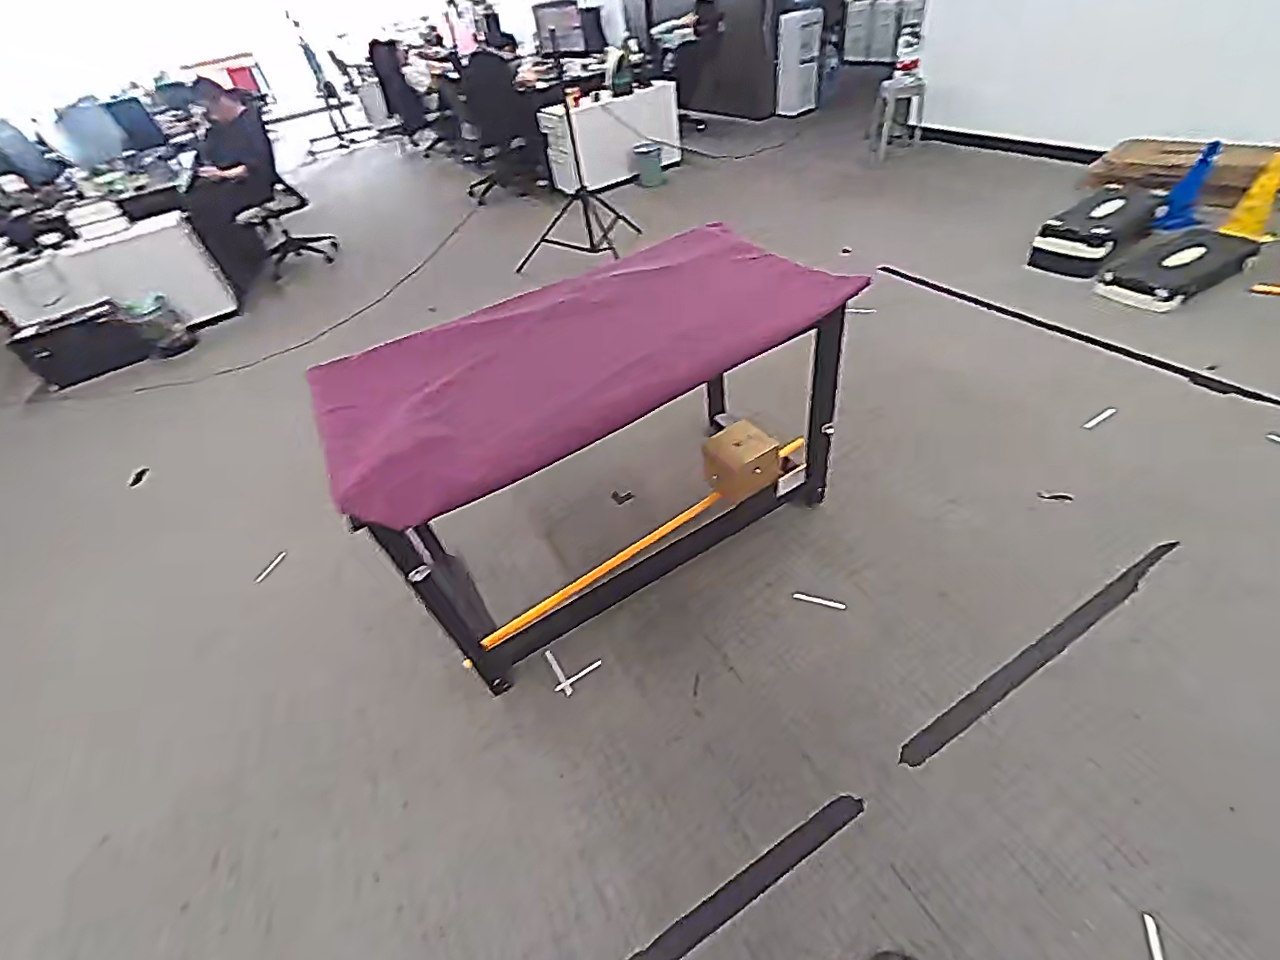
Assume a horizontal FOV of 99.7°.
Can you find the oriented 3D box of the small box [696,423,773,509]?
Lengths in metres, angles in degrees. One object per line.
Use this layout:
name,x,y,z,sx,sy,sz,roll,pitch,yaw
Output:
small box,0.297,-0.041,1.684,0.179,0.176,0.168,-29,47,-17
